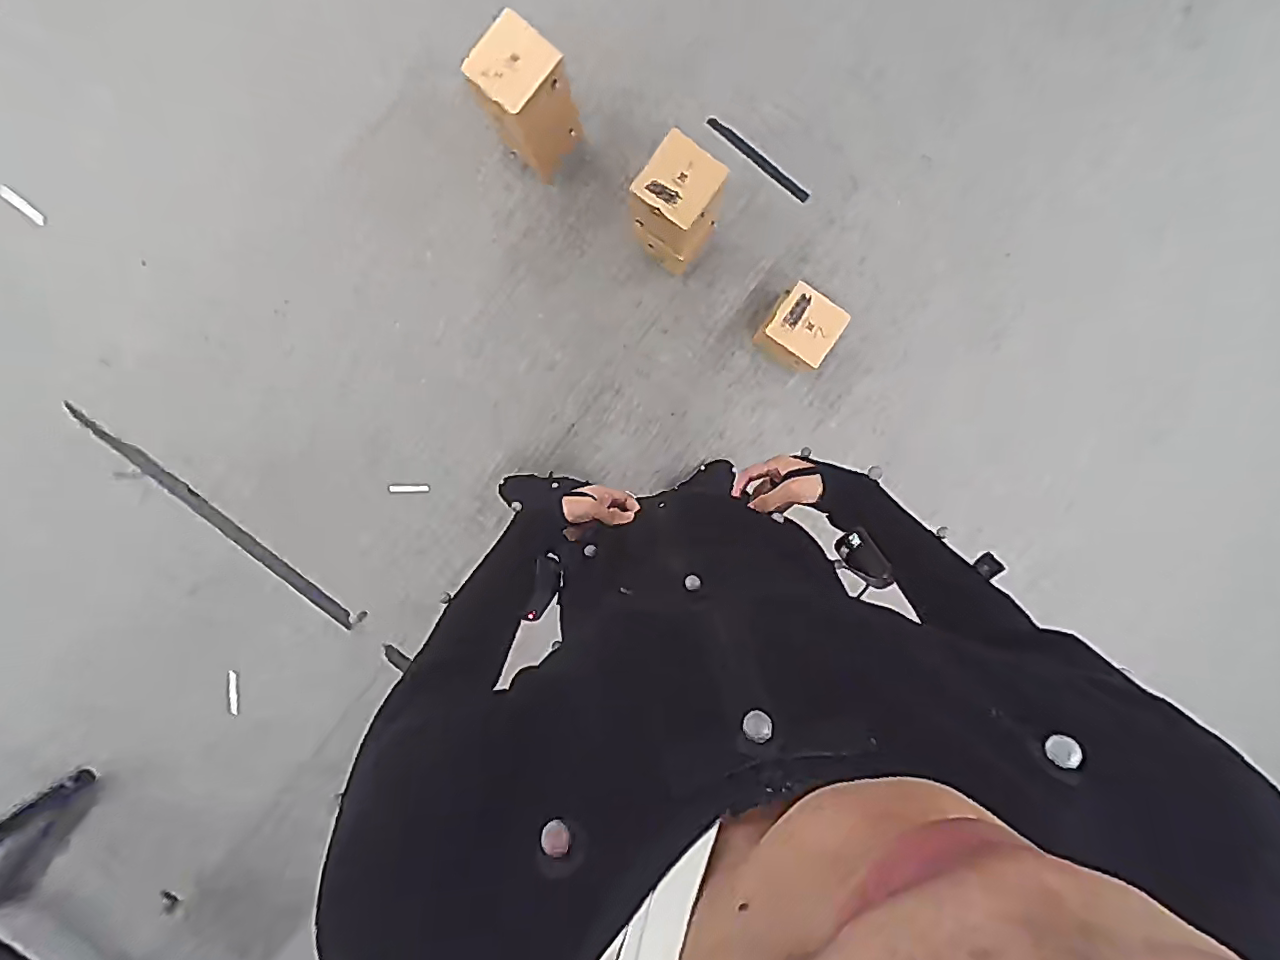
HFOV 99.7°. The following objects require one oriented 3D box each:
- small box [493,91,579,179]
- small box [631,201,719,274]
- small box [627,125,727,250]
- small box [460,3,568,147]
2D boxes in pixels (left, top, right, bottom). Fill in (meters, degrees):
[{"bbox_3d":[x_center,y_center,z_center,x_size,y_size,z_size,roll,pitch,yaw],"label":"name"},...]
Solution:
[{"bbox_3d":[-0.278,-0.963,1.451,0.168,0.176,0.179,41,93,-2],"label":"small box"},{"bbox_3d":[0.092,-0.697,1.475,0.168,0.176,0.179,36,93,-3],"label":"small box"},{"bbox_3d":[0.087,-0.695,1.310,0.168,0.176,0.179,37,92,-3],"label":"small box"},{"bbox_3d":[-0.288,-0.951,1.287,0.168,0.176,0.179,41,94,-2],"label":"small box"}]
